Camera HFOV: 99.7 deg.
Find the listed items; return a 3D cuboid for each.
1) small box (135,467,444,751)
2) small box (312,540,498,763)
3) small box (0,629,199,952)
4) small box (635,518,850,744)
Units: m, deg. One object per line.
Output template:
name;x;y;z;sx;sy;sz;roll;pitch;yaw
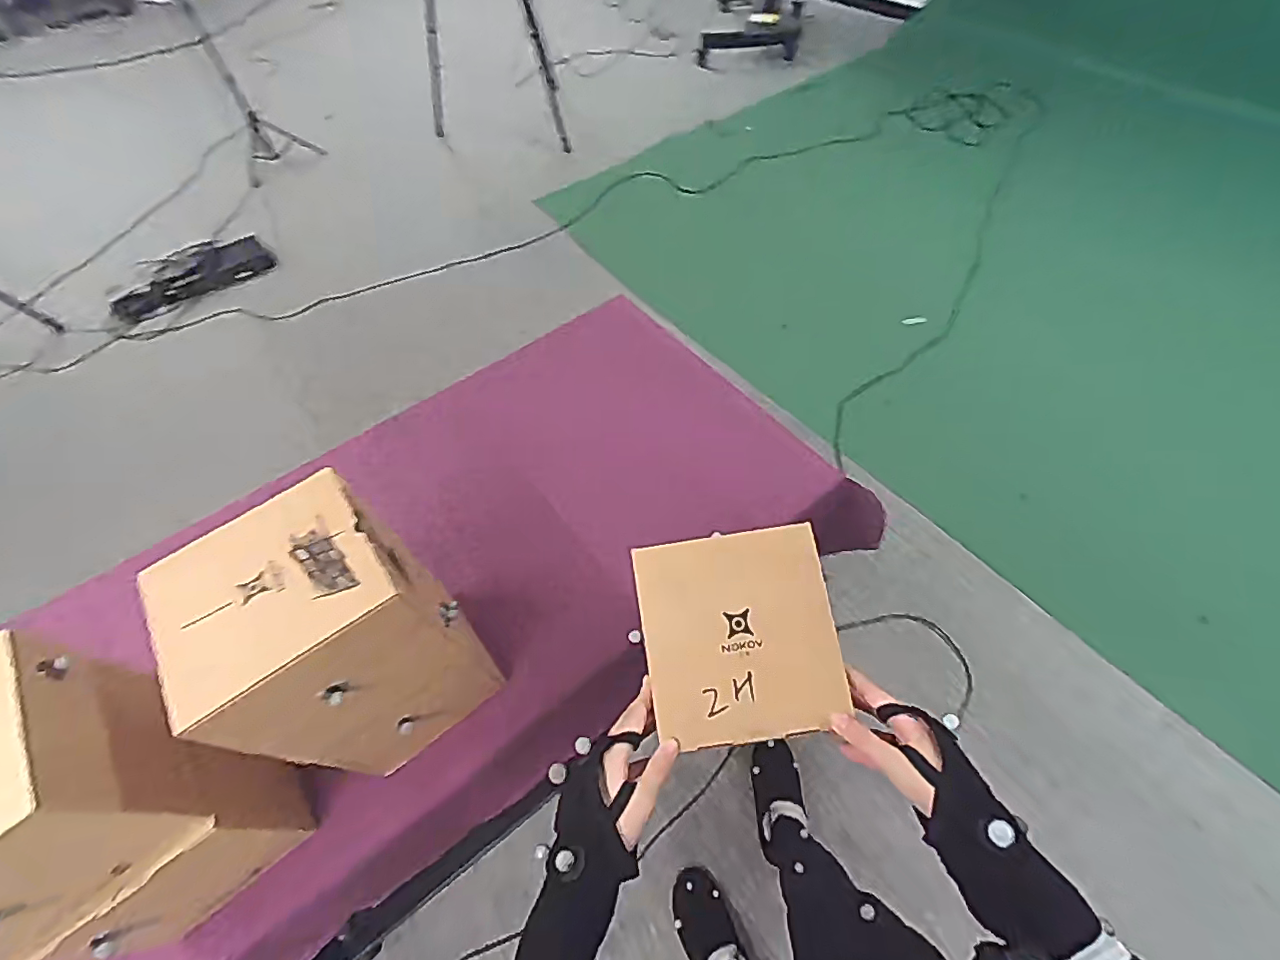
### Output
small box;-0.312;0.127;0.518;0.179;0.176;0.168;-34;60;-16
small box;-0.303;0.213;0.656;0.179;0.176;0.168;-35;60;-17
small box;-0.523;0.263;0.450;0.168;0.176;0.179;-38;60;-19
small box;0.087;0.147;0.542;0.168;0.176;0.179;-8;75;2
